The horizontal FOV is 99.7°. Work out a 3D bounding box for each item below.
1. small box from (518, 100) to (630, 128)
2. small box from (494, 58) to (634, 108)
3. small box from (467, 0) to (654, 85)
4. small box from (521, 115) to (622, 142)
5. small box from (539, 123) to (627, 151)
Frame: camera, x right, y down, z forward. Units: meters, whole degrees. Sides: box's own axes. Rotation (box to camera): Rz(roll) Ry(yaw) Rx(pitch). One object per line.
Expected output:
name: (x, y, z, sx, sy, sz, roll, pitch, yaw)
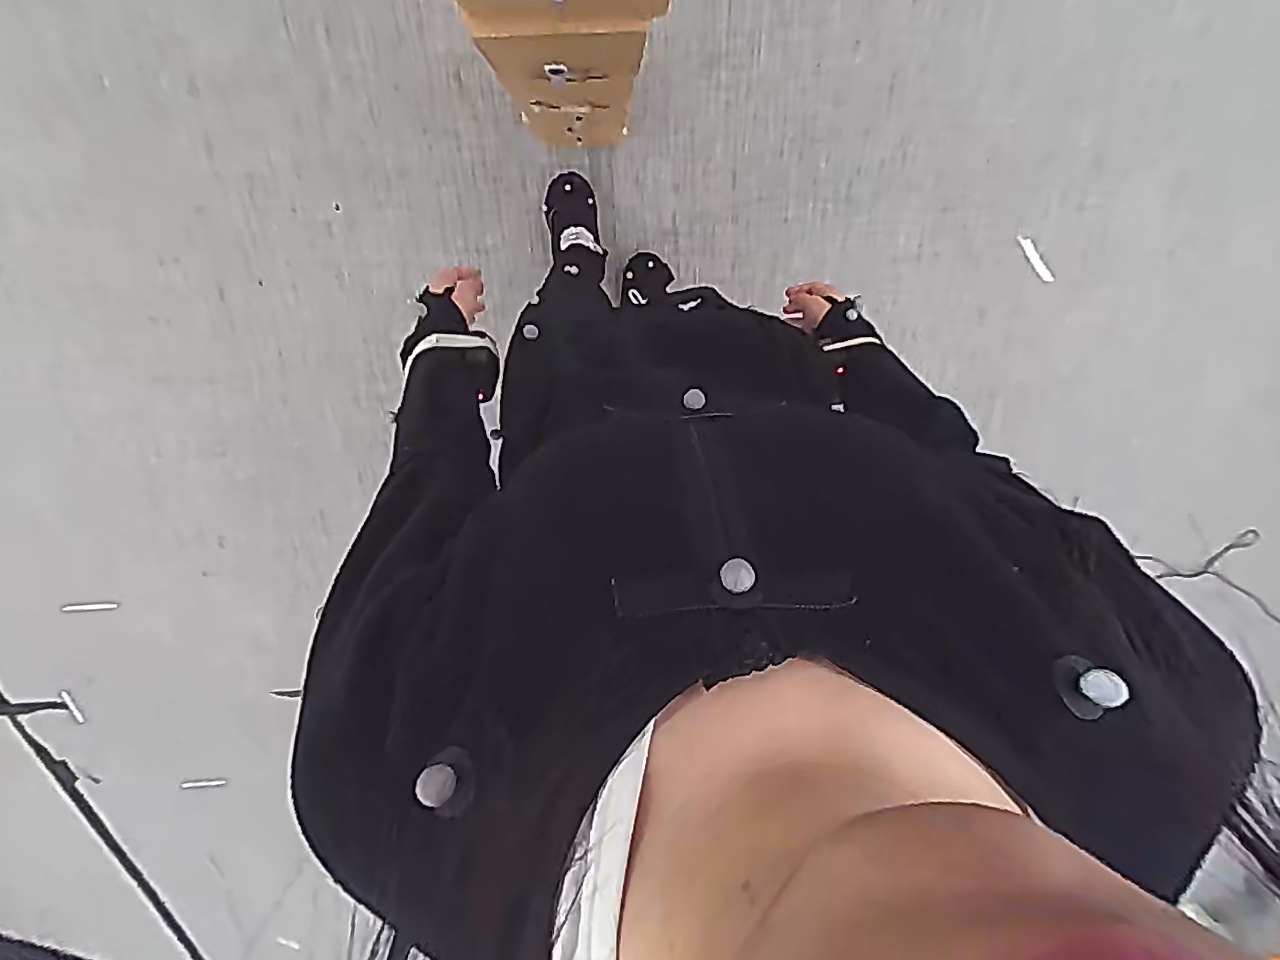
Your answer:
small box: (-0.097, -0.643, 0.815, 0.168, 0.176, 0.179, -2, 116, -4)
small box: (-0.090, -0.574, 0.665, 0.168, 0.176, 0.179, -2, 115, -3)
small box: (-0.076, -0.506, 0.520, 0.168, 0.176, 0.179, -3, 117, -1)
small box: (-0.117, -0.710, 0.963, 0.179, 0.176, 0.168, -1, 116, -4)
small box: (-0.122, -0.783, 1.110, 0.179, 0.176, 0.168, -3, 116, -3)
